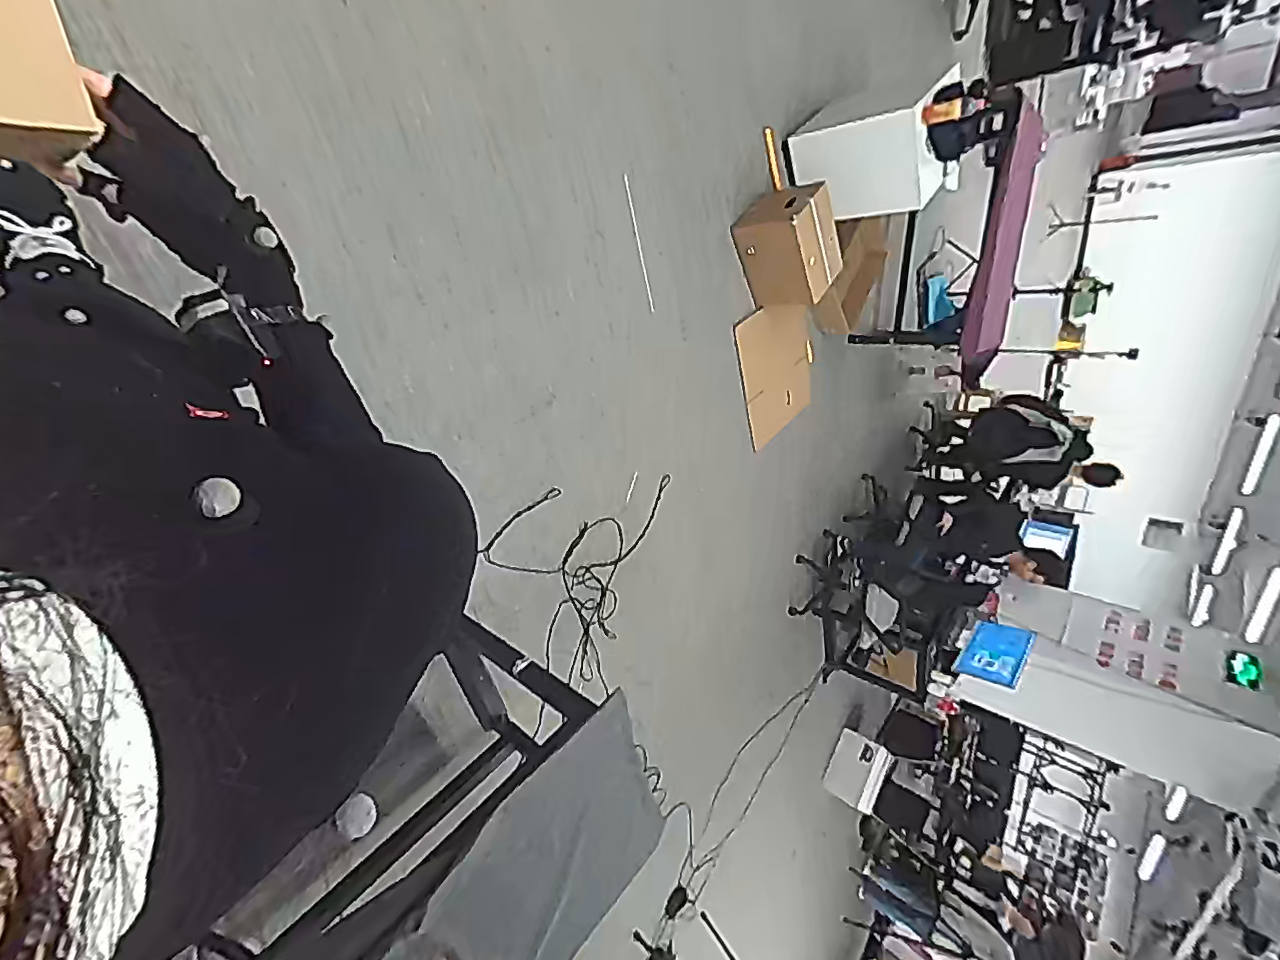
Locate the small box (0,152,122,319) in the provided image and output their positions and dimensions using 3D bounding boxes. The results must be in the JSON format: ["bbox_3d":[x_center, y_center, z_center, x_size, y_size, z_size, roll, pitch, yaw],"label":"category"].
[{"bbox_3d":[-1.024,-0.412,0.909,0.168,0.176,0.179,26,56,-25],"label":"small box"}]

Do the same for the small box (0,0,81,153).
[{"bbox_3d":[-0.435,-0.273,0.270,0.179,0.176,0.168,-25,124,-43],"label":"small box"}]
